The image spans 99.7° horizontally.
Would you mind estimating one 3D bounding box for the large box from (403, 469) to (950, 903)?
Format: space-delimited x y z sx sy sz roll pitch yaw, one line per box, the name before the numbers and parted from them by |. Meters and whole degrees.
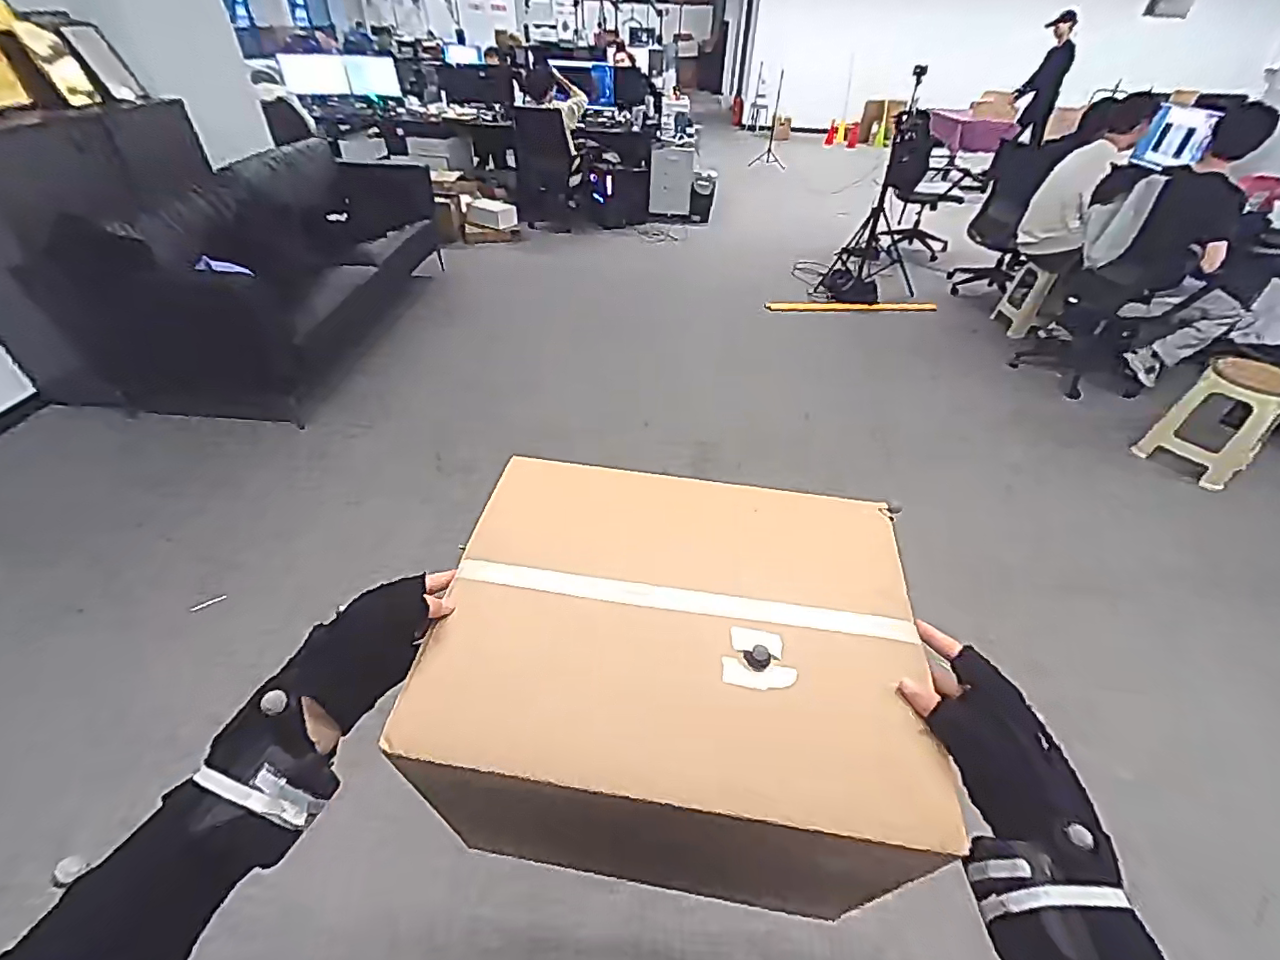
large box | 0.033 0.219 0.592 0.408 0.320 0.320 7 46 5
